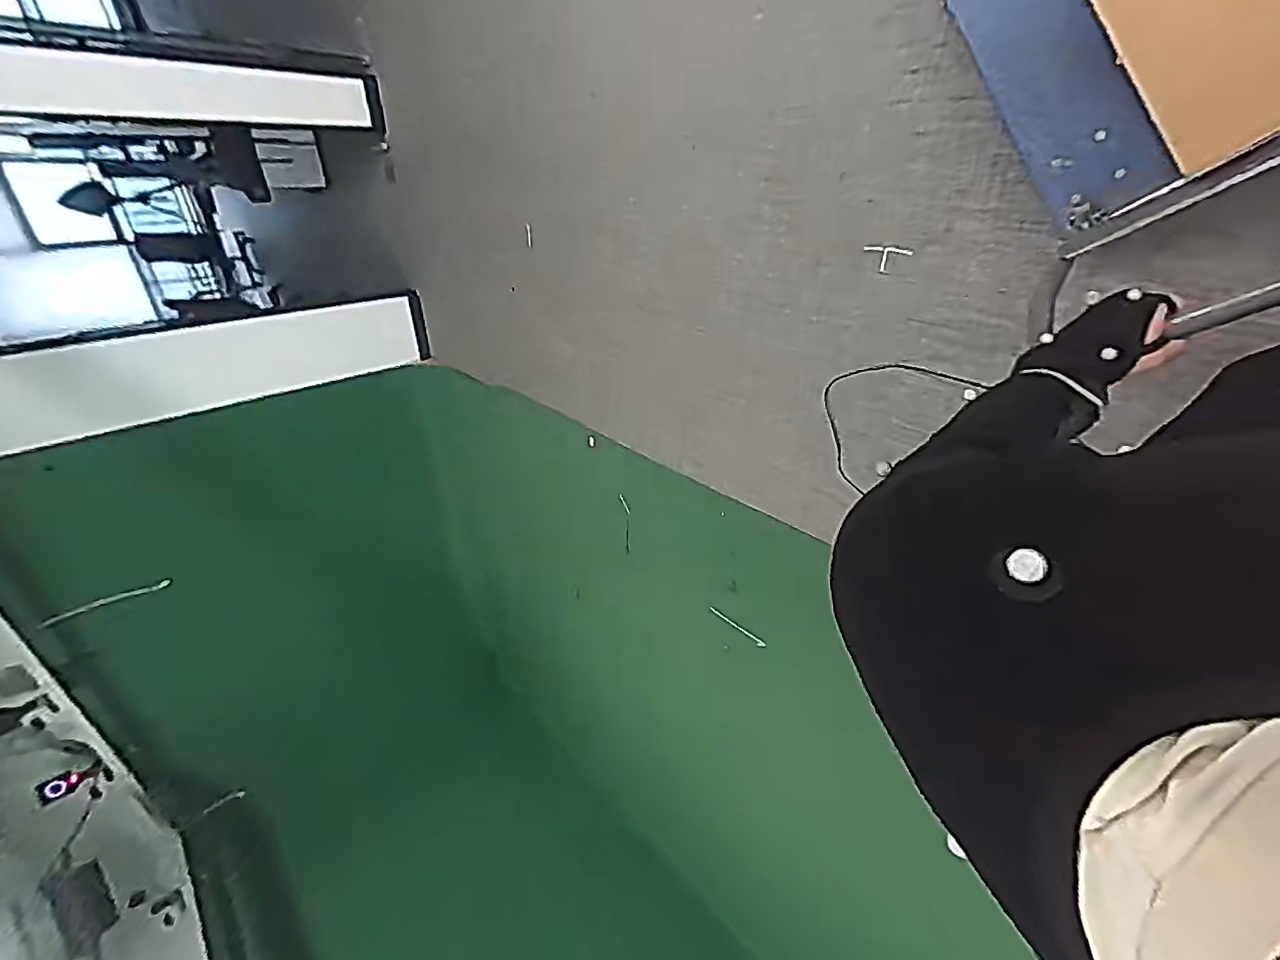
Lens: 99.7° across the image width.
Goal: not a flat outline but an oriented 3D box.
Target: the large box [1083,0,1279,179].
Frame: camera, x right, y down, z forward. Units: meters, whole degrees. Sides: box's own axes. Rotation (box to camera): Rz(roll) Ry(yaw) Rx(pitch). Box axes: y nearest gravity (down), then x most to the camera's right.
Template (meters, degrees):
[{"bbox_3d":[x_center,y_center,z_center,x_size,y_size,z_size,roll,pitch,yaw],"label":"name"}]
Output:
[{"bbox_3d":[0.856,-0.698,0.727,0.320,0.320,0.408,-29,95,52],"label":"large box"}]
